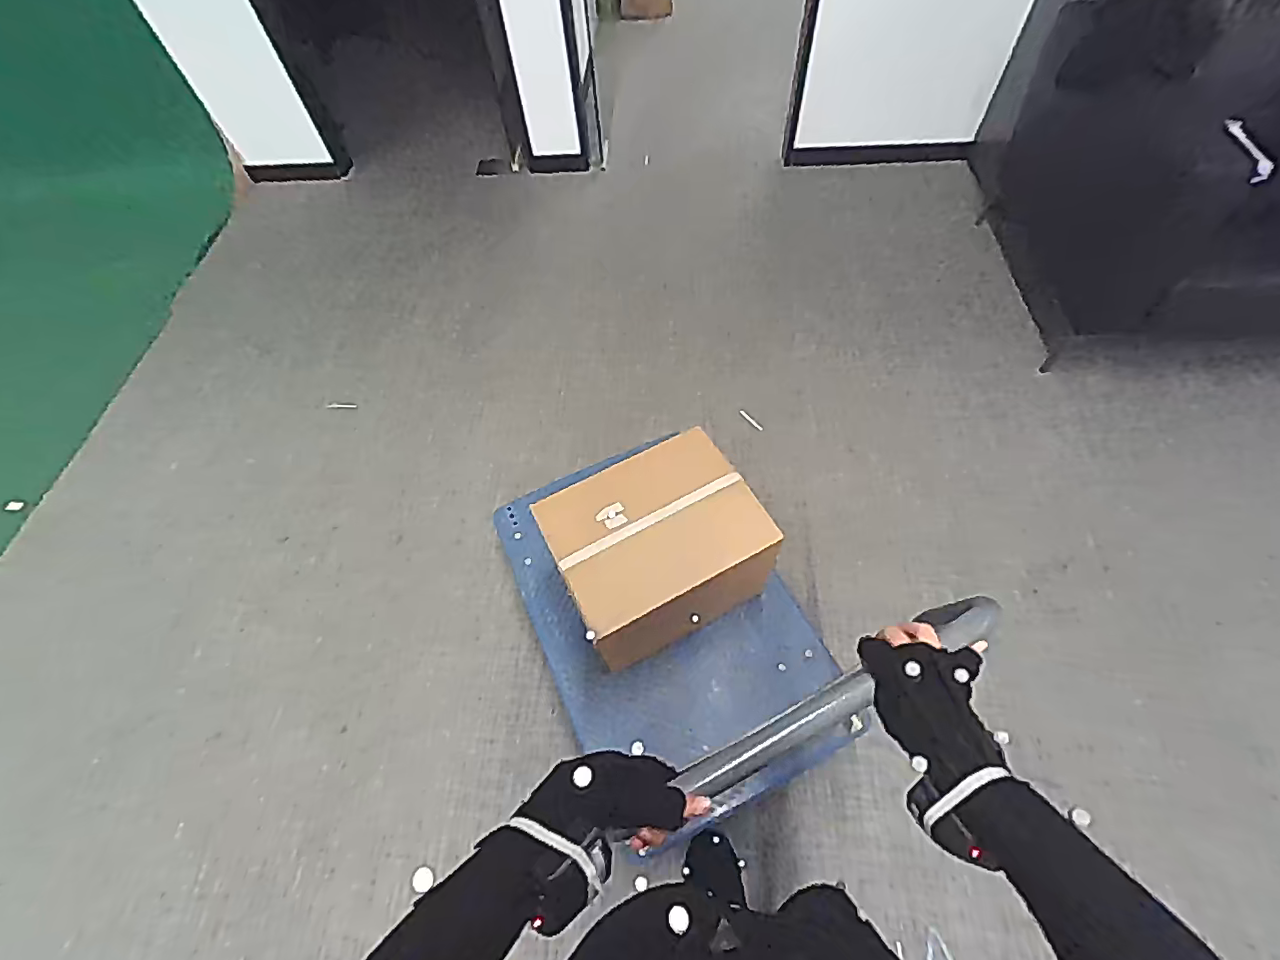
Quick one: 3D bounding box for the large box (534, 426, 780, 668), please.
[{"bbox_3d":[0.036,0.154,1.196,0.408,0.320,0.320,-27,61,-12],"label":"large box"}]
